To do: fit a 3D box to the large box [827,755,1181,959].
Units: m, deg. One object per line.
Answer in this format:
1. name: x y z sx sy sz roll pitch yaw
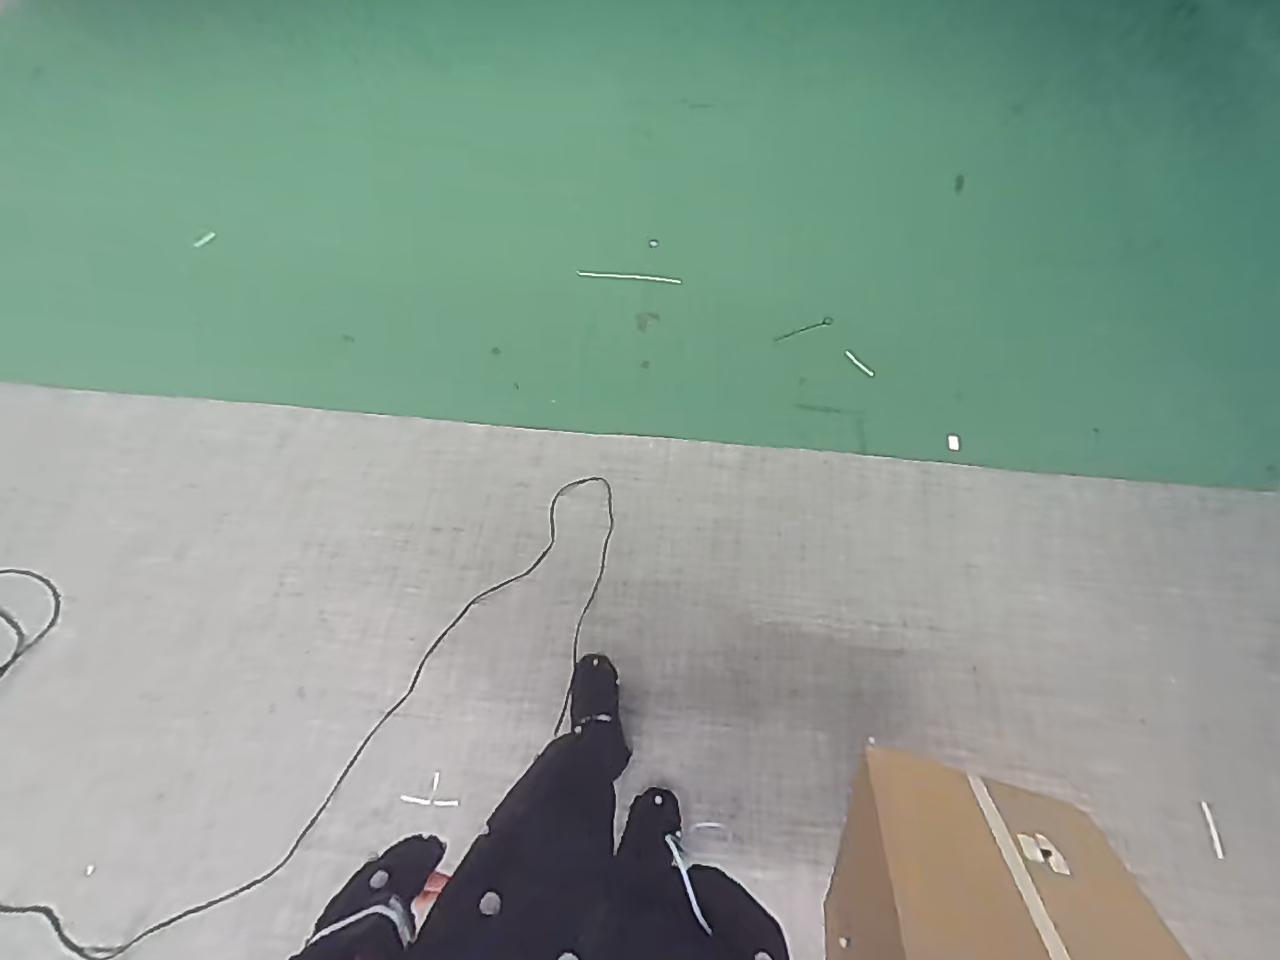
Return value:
1. large box: 0.429 0.638 0.667 0.320 0.408 0.320 13 100 14
